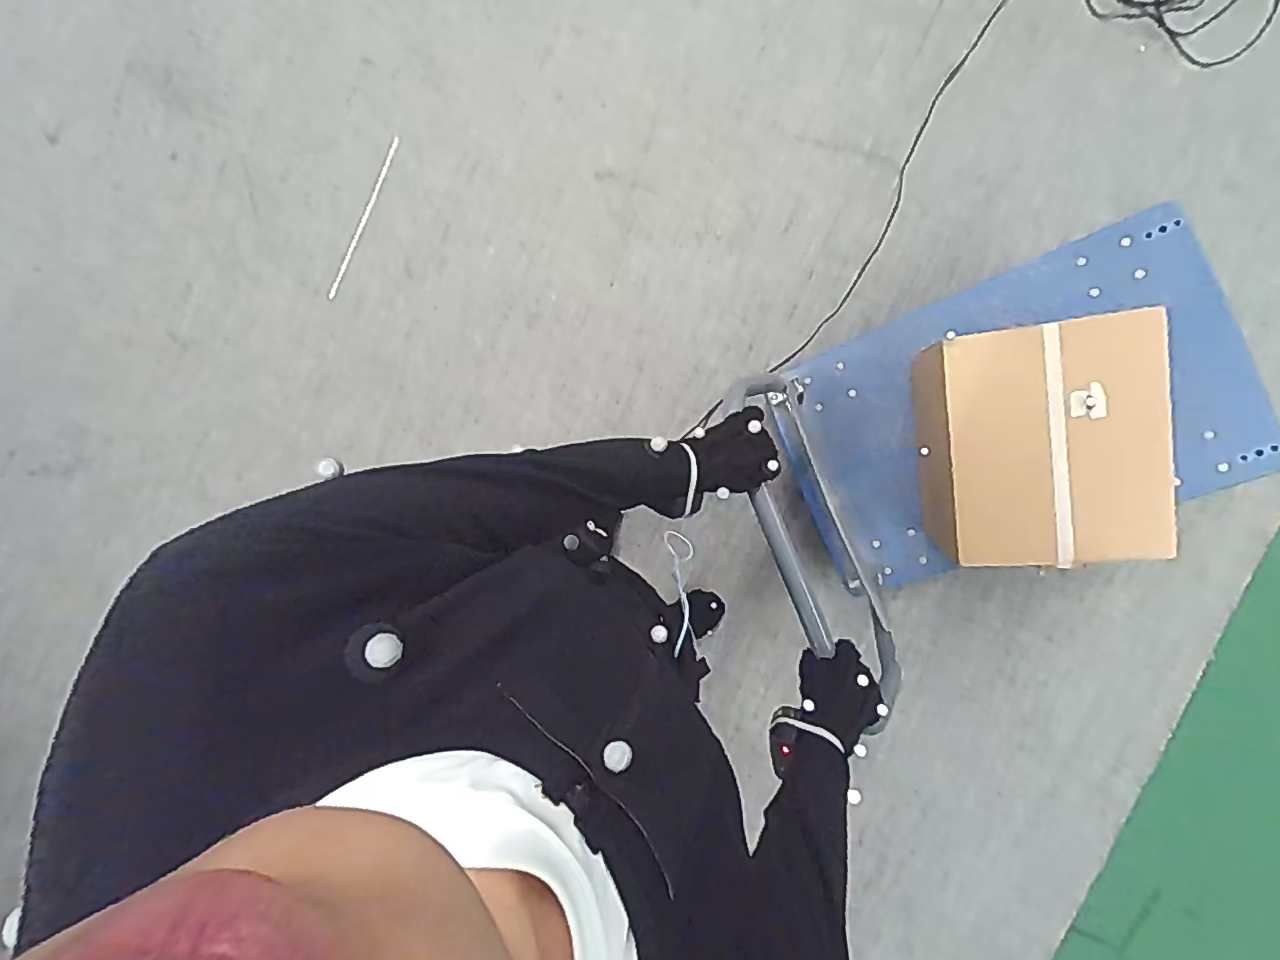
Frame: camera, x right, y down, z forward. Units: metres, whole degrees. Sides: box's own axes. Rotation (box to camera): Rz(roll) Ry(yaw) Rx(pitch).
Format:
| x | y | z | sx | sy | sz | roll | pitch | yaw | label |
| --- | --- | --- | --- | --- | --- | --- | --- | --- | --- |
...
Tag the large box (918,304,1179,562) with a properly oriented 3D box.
| x | y | z | sx | sy | sz | roll | pitch | yaw | label |
| --- | --- | --- | --- | --- | --- | --- | --- | --- | --- |
| 0.738 | -0.078 | 1.036 | 0.320 | 0.320 | 0.408 | -5 | 94 | 18 | large box |
